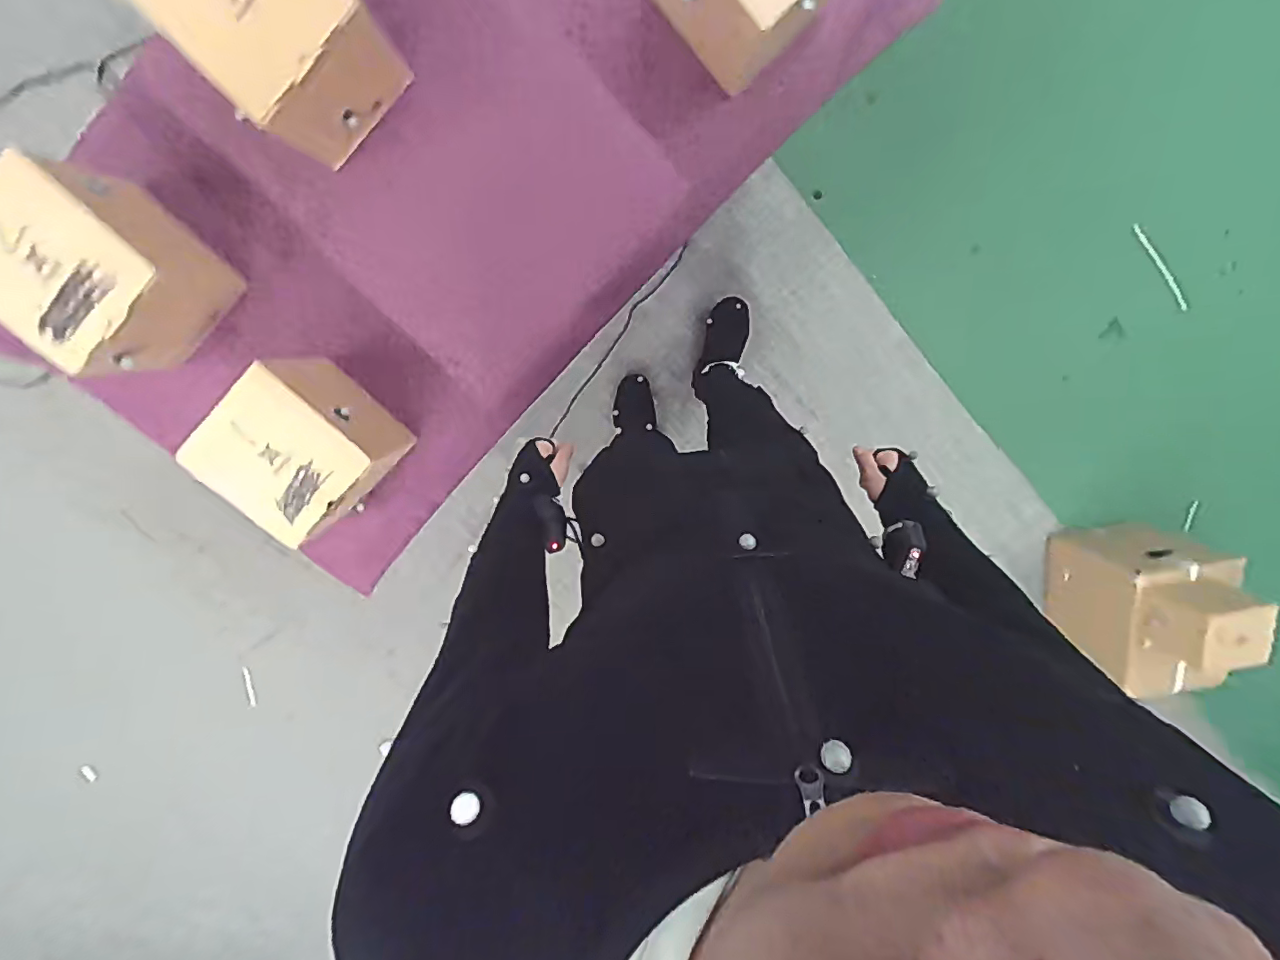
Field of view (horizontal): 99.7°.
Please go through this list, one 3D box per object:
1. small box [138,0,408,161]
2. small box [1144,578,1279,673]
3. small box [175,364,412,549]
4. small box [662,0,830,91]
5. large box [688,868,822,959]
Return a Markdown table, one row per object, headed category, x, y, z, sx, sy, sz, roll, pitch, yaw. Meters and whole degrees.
| category | x | y | z | sx | sy | sz | roll | pitch | yaw |
| --- | --- | --- | --- | --- | --- | --- | --- | --- | --- |
| small box | -0.406 | -0.511 | 0.618 | 0.168 | 0.176 | 0.179 | -45 | 104 | 7 |
| small box | 1.478 | 0.370 | 1.404 | 0.179 | 0.176 | 0.168 | -10 | 105 | 0 |
| small box | -0.447 | -0.044 | 0.734 | 0.168 | 0.176 | 0.179 | -45 | 102 | 7 |
| small box | 0.131 | -0.610 | 0.625 | 0.168 | 0.176 | 0.179 | -43 | 101 | 8 |
| large box | 0.427 | 1.702 | 1.937 | 0.408 | 0.320 | 0.320 | -21 | 105 | 1 |
